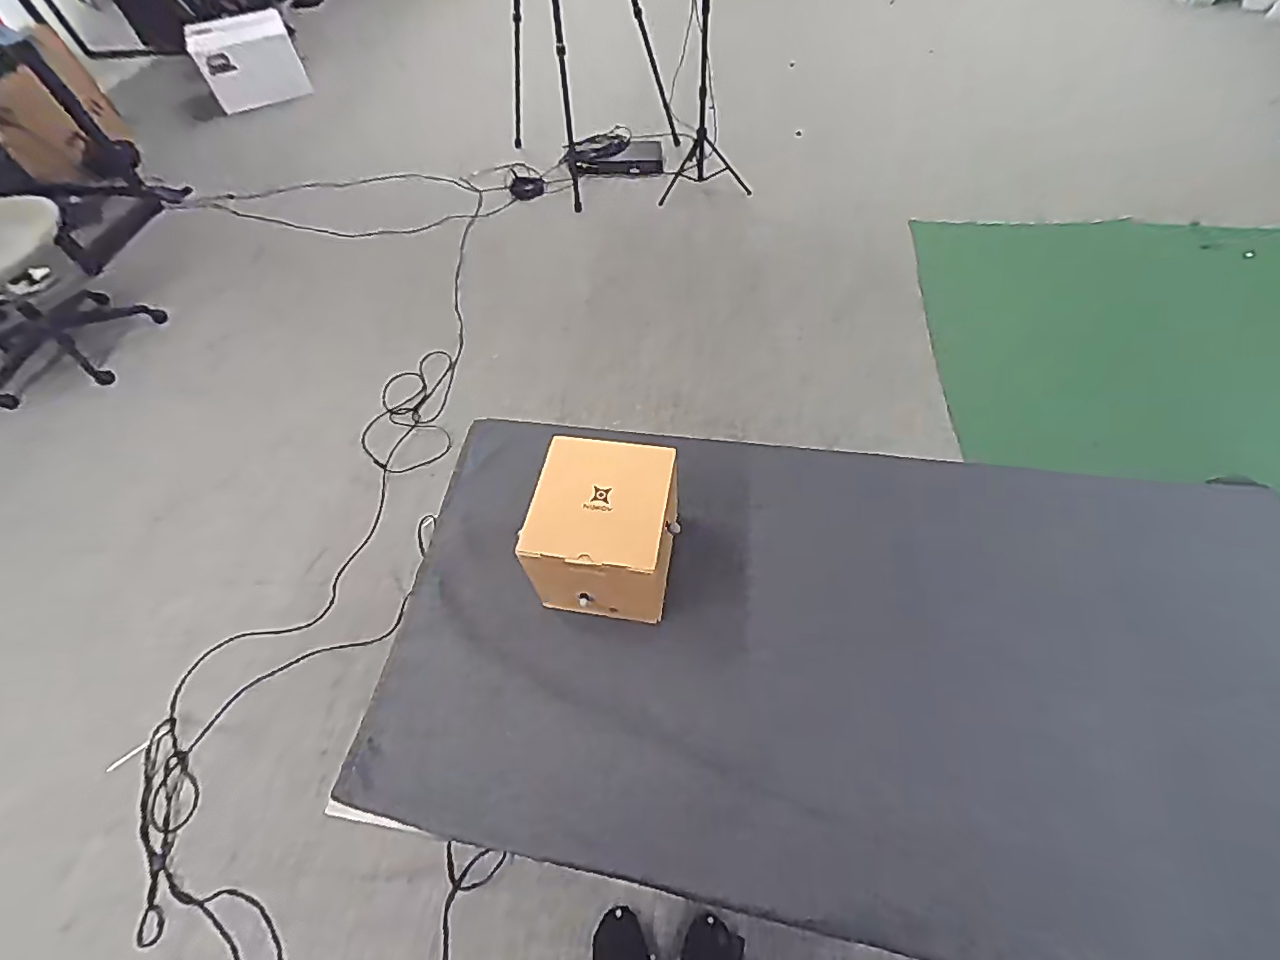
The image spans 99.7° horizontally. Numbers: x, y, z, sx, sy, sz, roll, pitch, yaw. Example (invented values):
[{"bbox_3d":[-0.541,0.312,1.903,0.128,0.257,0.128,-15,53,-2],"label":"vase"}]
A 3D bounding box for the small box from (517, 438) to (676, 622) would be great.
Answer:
[{"bbox_3d":[-0.046,0.070,0.725,0.168,0.176,0.179,7,58,8],"label":"small box"}]
